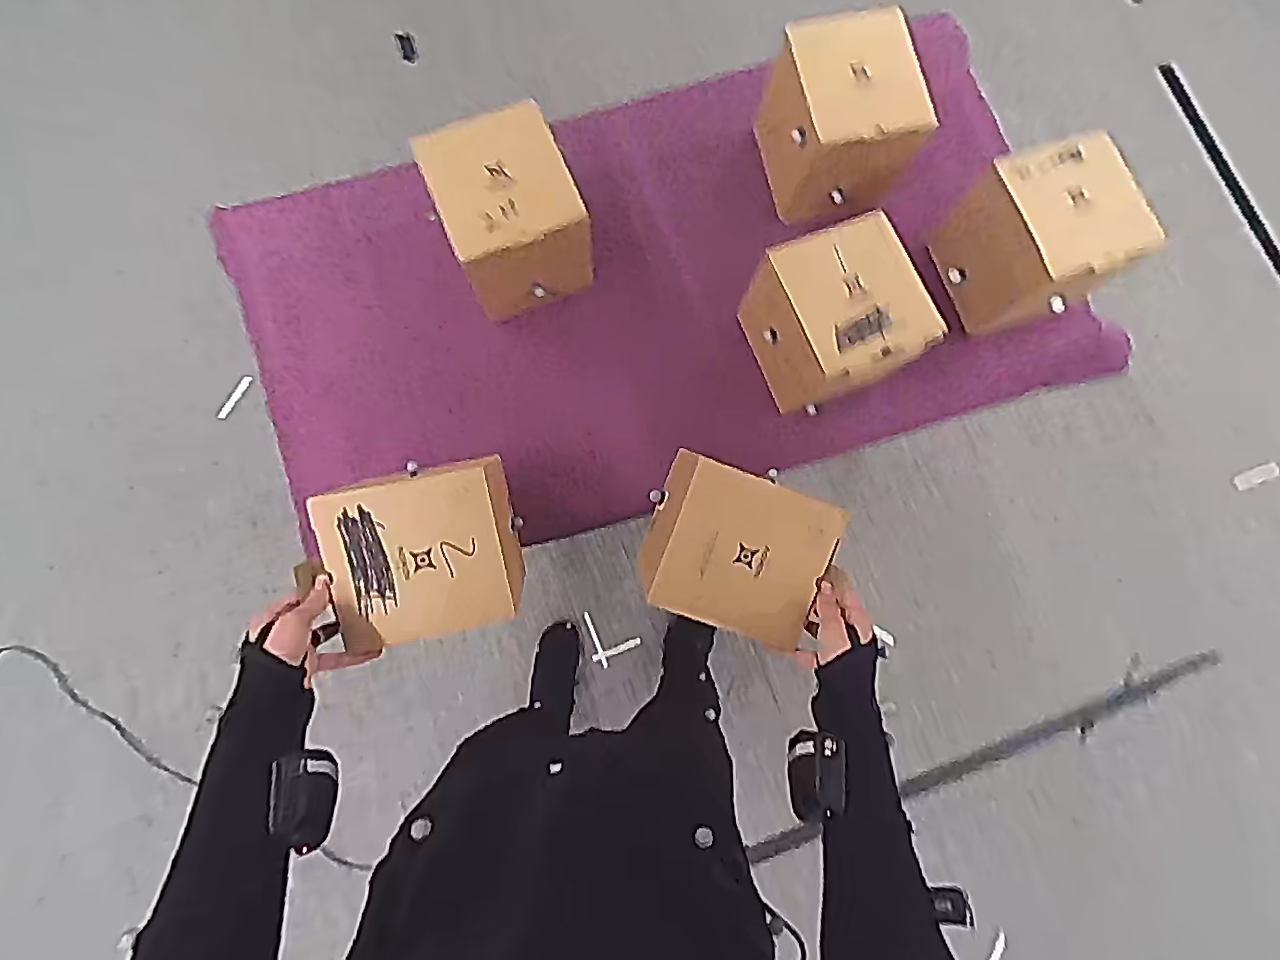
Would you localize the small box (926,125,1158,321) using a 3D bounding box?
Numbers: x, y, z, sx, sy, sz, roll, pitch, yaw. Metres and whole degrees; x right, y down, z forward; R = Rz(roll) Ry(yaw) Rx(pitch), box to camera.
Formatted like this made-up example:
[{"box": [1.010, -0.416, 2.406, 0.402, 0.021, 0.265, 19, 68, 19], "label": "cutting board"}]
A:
[{"box": [0.550, -0.347, 0.768, 0.168, 0.176, 0.179, -17, 81, -5], "label": "small box"}]

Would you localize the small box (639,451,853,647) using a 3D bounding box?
[{"box": [0.112, 0.069, 0.648, 0.179, 0.176, 0.168, 21, 93, -7], "label": "small box"}]

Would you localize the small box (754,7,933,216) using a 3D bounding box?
[{"box": [0.280, -0.525, 0.788, 0.168, 0.176, 0.179, -14, 83, -4], "label": "small box"}]

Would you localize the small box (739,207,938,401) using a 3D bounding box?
[{"box": [0.254, -0.223, 0.736, 0.168, 0.176, 0.179, -21, 82, -6], "label": "small box"}]

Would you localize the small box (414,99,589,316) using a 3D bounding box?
[{"box": [-0.177, -0.359, 0.739, 0.168, 0.176, 0.179, -23, 83, -6], "label": "small box"}]
